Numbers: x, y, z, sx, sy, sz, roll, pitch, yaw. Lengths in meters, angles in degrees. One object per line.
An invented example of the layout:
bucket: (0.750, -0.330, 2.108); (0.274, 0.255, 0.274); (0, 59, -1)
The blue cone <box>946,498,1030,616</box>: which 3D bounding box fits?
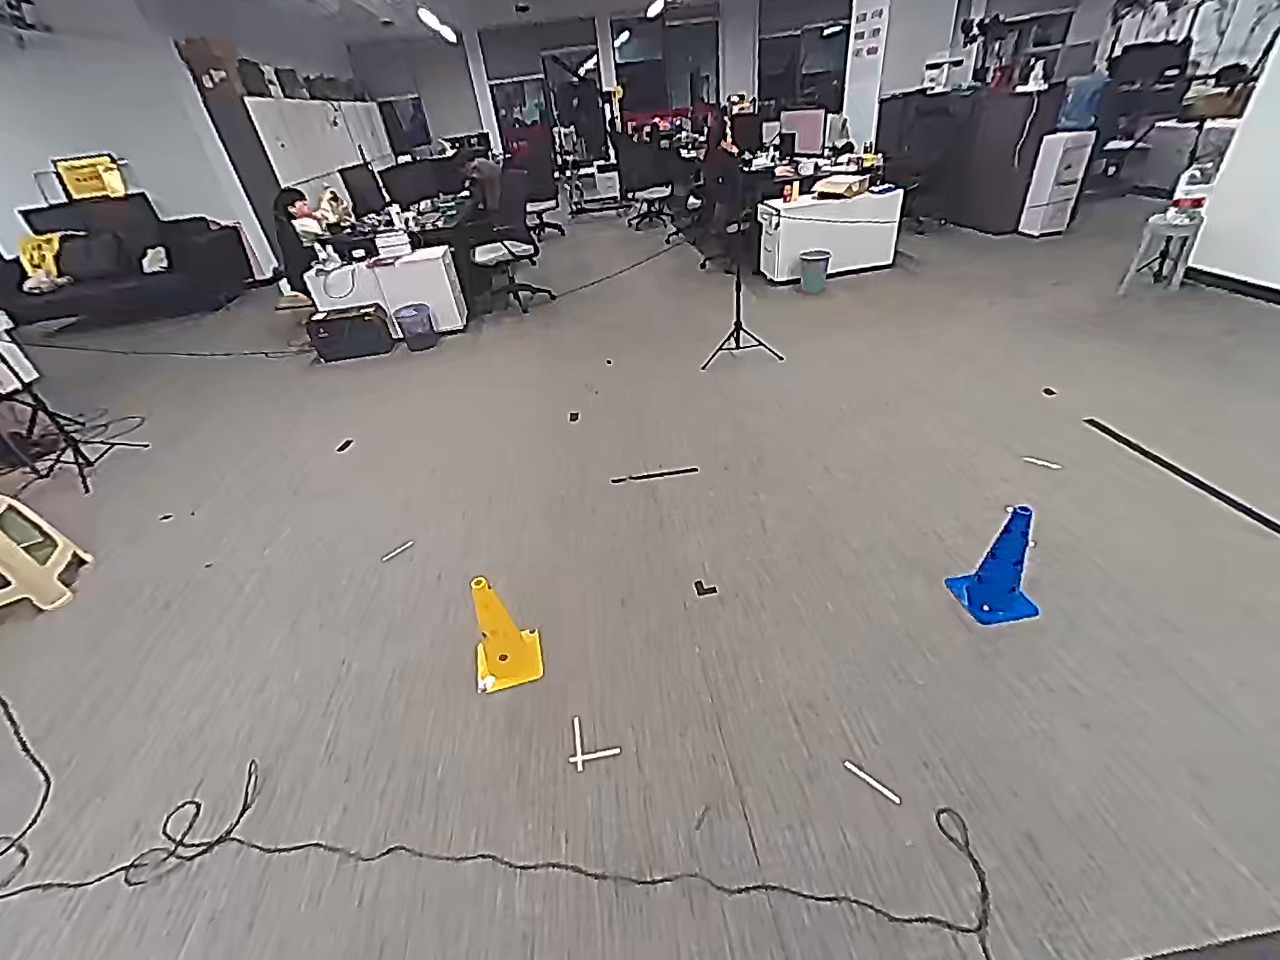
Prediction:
blue cone: (1.091, 0.221, 1.636); (0.193, 0.380, 0.192); (-9, 34, -2)
